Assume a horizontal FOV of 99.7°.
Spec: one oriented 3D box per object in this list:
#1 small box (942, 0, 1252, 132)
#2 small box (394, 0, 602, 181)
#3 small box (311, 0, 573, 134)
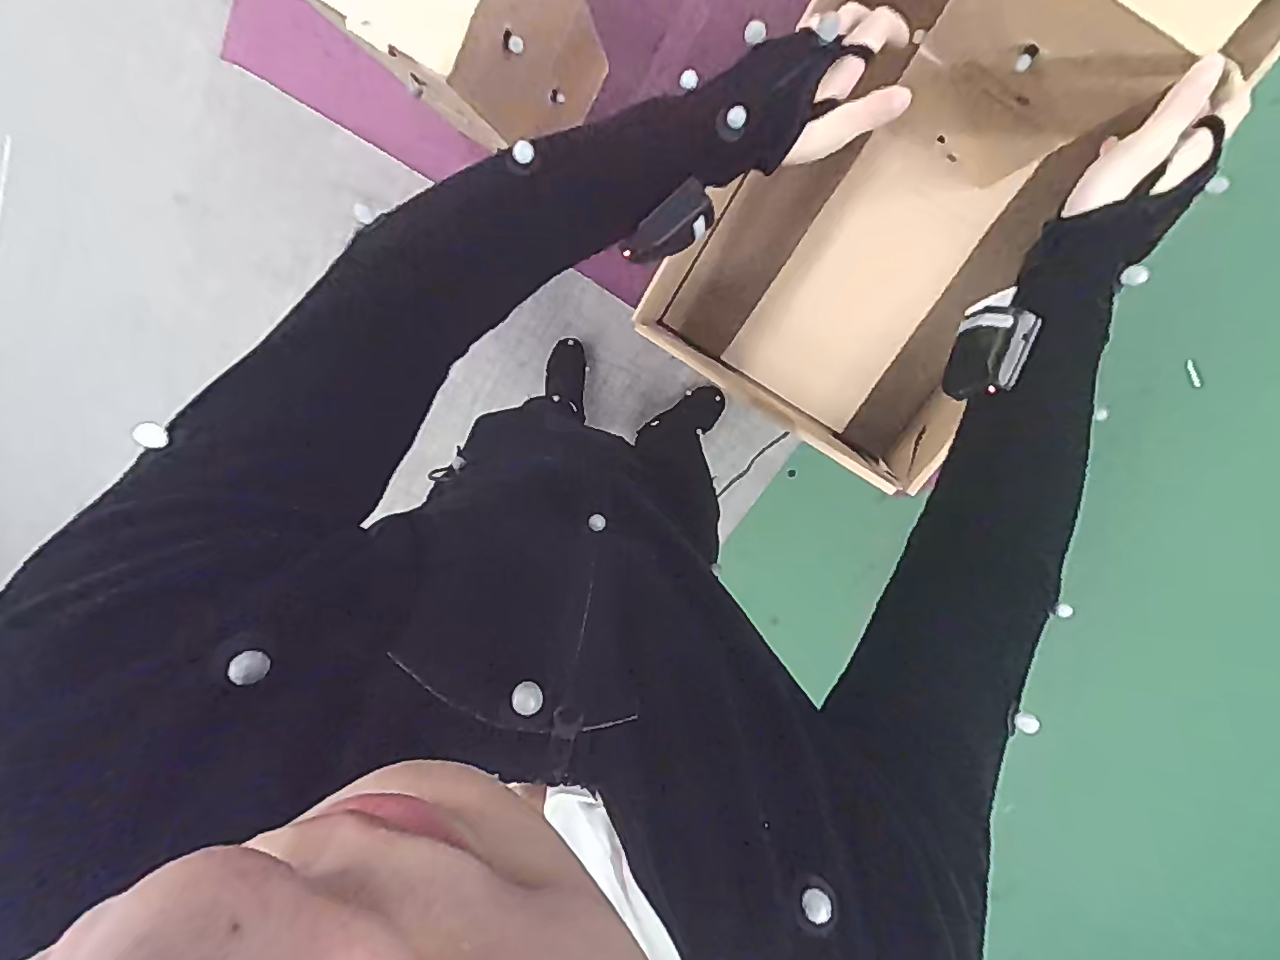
[{"bbox_3d":[0.364,-0.408,0.405,0.168,0.176,0.179,35,108,-1],"label":"small box"},{"bbox_3d":[-0.164,-0.519,0.683,0.168,0.176,0.179,33,104,-2],"label":"small box"},{"bbox_3d":[-0.183,-0.482,0.524,0.168,0.176,0.179,32,106,-2],"label":"small box"}]
